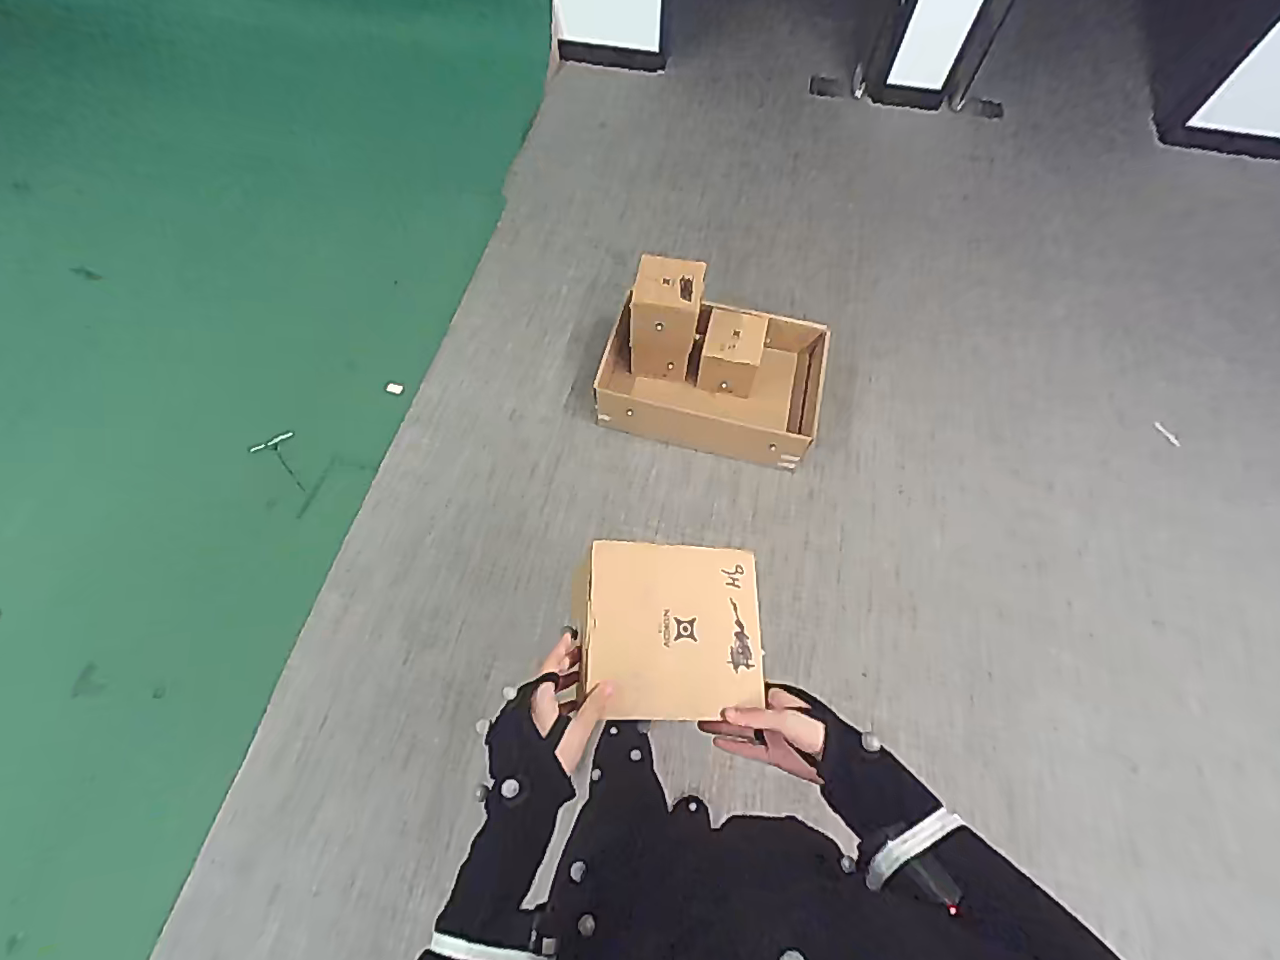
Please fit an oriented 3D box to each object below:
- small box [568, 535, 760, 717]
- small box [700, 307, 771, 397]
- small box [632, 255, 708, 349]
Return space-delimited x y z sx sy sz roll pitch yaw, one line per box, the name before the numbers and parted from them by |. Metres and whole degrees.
small box | 0.016 0.168 0.593 0.179 0.176 0.168 6 68 -9
small box | 0.277 -0.375 1.596 0.168 0.176 0.179 12 67 7
small box | 0.078 -0.474 1.462 0.179 0.176 0.168 9 67 5
